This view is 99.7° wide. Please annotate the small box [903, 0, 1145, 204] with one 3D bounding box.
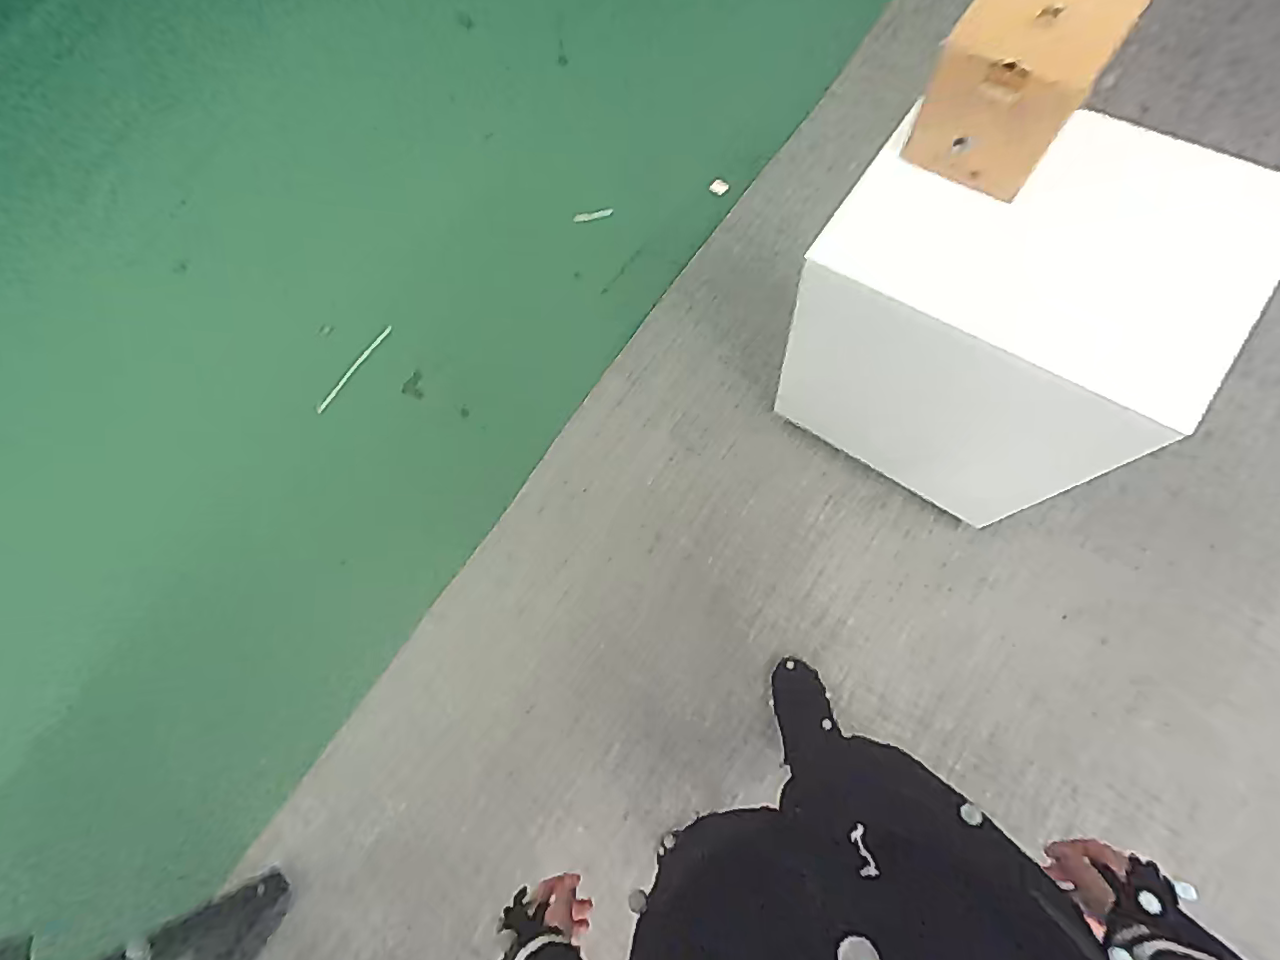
[{"bbox_3d":[0.478,-0.510,0.706,0.168,0.176,0.179,34,82,16],"label":"small box"}]
